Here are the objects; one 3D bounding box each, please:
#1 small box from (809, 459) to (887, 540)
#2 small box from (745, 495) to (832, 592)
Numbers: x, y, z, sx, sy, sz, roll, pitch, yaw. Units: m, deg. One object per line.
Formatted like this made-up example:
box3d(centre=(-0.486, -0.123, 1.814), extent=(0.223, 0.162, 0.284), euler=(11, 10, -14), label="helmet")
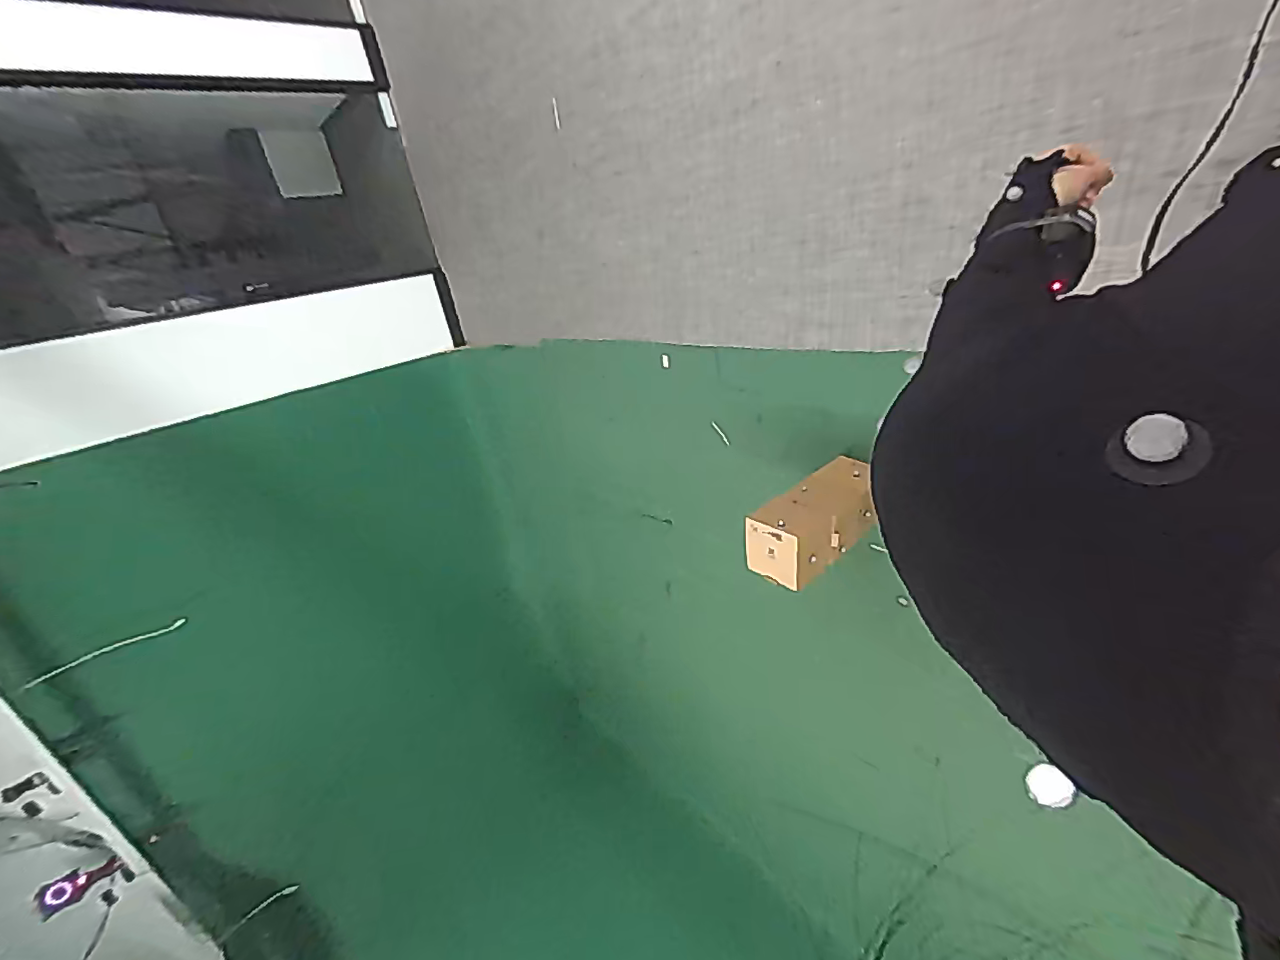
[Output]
box3d(centre=(0.646, 0.053, 1.684), extent=(0.168, 0.176, 0.179), euler=(26, 131, 41), label="small box")
box3d(centre=(0.409, 0.168, 1.487), extent=(0.168, 0.176, 0.179), euler=(23, 130, 45), label="small box")
